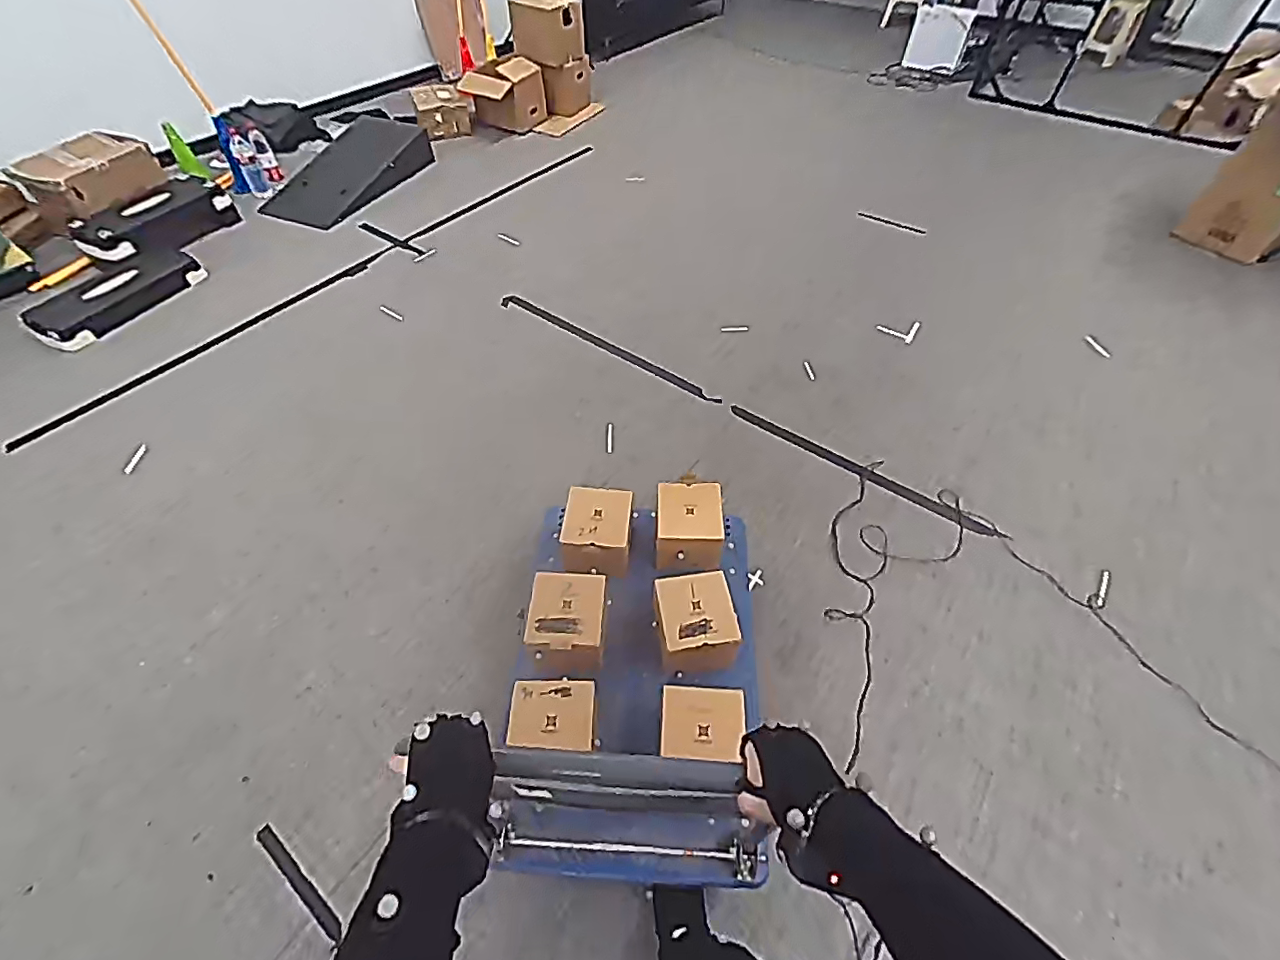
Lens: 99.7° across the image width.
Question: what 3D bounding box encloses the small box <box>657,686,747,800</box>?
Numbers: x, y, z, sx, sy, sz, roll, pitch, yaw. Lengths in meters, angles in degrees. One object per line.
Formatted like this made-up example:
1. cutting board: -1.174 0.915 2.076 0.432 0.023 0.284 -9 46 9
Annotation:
1. small box: 0.124 0.546 1.114 0.168 0.176 0.179 4 50 1

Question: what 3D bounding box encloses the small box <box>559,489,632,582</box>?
1. small box: -0.111 0.148 1.427 0.168 0.176 0.179 4 52 2

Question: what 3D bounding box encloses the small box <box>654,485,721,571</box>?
1. small box: 0.122 0.132 1.447 0.168 0.176 0.179 1 51 0

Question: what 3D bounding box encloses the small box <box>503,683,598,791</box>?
1. small box: -0.174 0.534 1.117 0.168 0.176 0.179 1 52 -2

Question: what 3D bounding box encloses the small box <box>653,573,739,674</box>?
1. small box: 0.124 0.344 1.276 0.168 0.176 0.179 -6 51 -6
